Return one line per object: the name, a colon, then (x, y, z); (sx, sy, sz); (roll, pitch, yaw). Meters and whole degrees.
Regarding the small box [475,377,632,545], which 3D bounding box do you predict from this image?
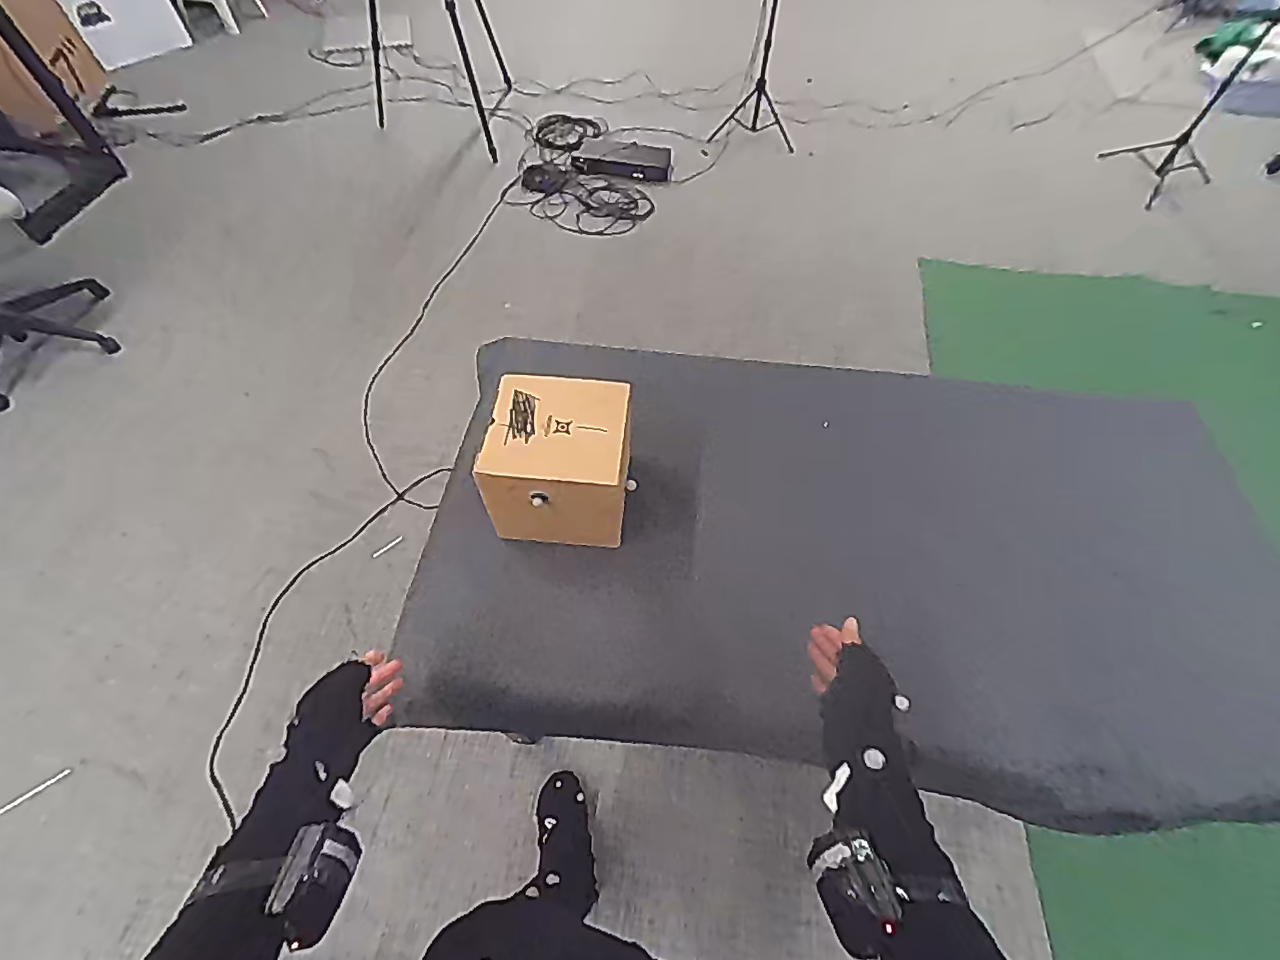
small box: (-0.106, -0.021, 0.751); (0.179, 0.176, 0.168); (5, 57, 1)
